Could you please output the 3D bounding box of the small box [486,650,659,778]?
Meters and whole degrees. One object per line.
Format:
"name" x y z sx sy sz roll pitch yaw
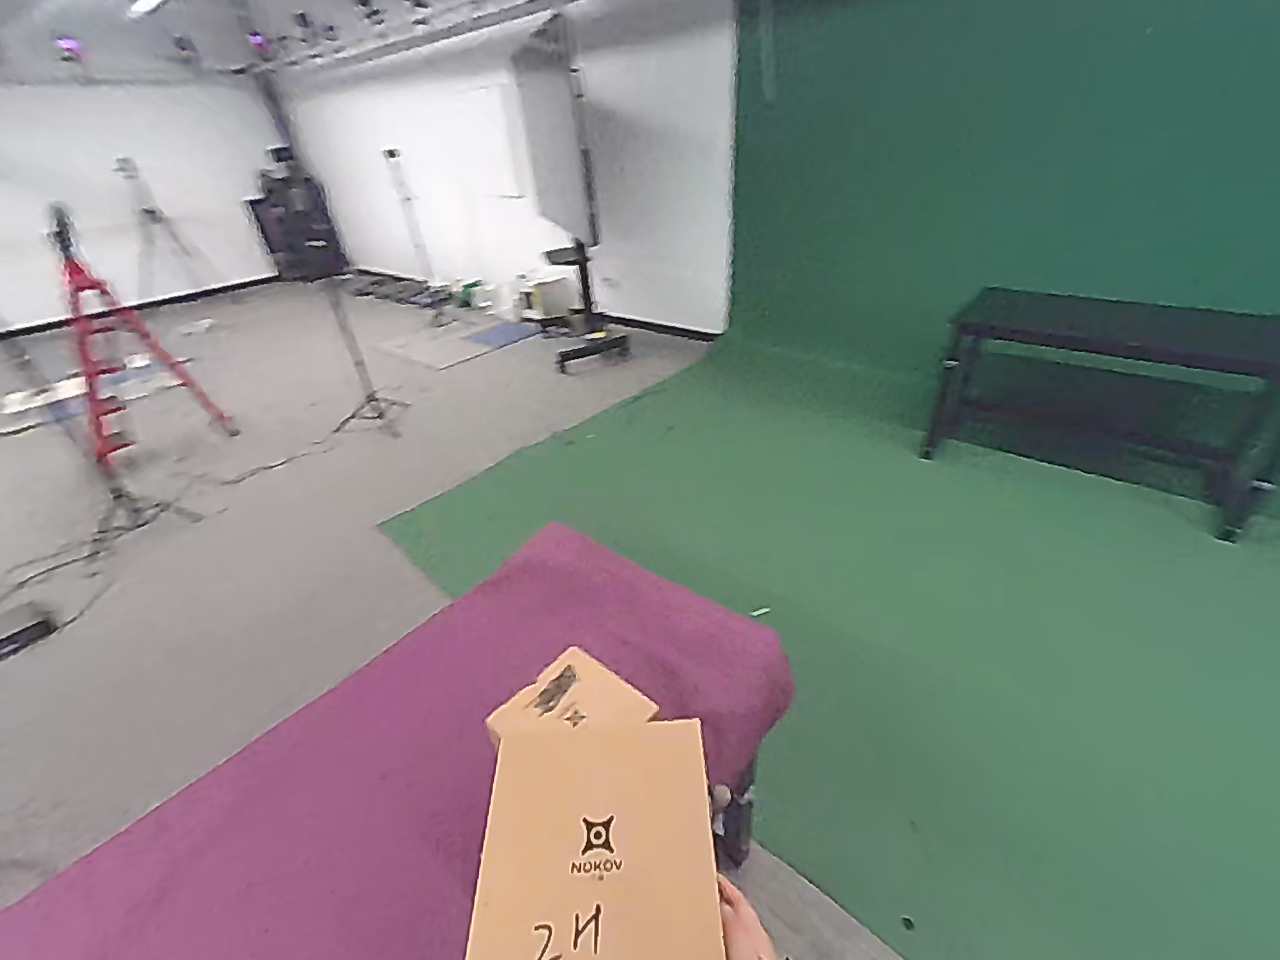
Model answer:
"small box" -0.088 0.387 0.769 0.179 0.176 0.168 22 41 35

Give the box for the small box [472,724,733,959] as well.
"small box" -0.016 0.320 0.430 0.168 0.176 0.179 -5 41 4
